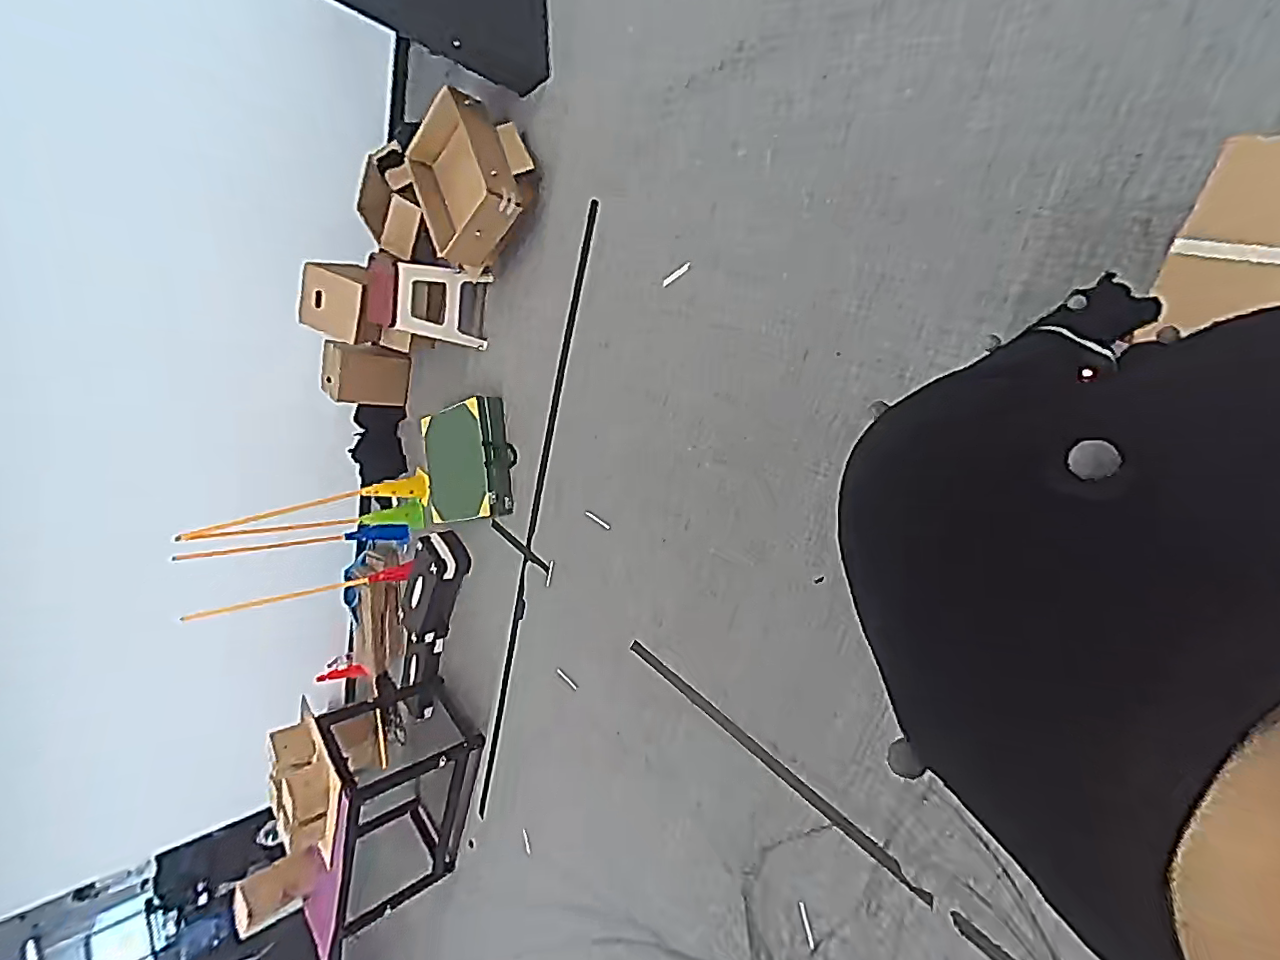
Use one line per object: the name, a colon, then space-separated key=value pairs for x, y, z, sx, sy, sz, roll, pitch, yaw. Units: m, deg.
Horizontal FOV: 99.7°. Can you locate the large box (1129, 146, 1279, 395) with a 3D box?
large box: x=1.089 y=-0.296 z=0.849 sx=0.408 sy=0.320 sz=0.320 roll=29 pitch=114 yaw=38
